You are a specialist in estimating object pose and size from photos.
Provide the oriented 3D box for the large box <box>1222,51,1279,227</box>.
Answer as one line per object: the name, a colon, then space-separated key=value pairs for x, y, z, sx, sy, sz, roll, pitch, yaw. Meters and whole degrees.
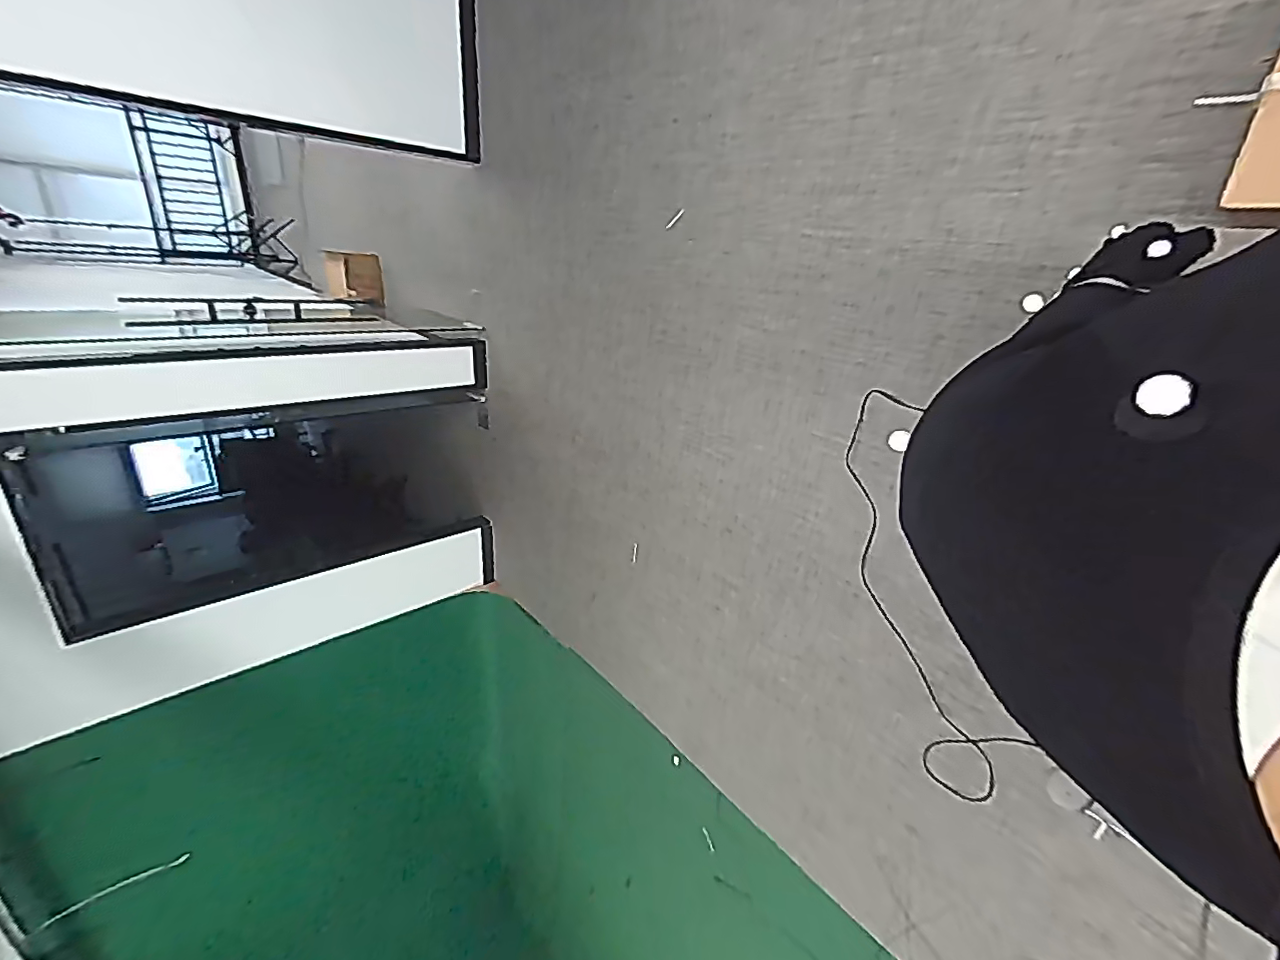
large box: x=1.102 y=-0.515 z=0.701 sx=0.408 sy=0.320 sz=0.320 roll=26 pitch=121 yaw=42
